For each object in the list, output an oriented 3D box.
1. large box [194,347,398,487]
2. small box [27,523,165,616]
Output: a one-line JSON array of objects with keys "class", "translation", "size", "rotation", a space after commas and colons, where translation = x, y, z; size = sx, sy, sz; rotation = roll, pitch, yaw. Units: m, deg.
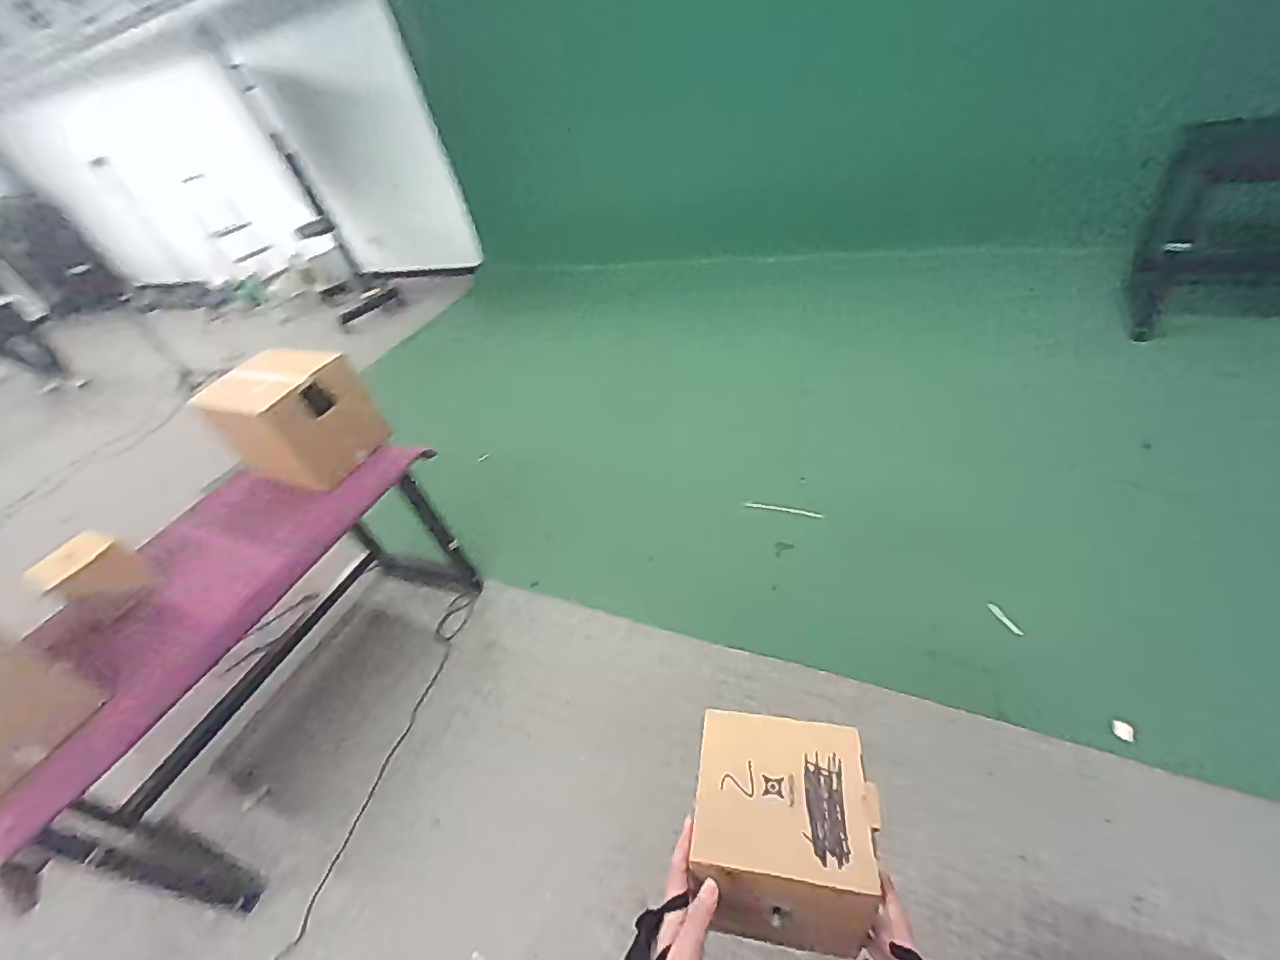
[{"class": "large box", "translation": [-1.086, -0.209, 1.740], "size": [0.408, 0.320, 0.320], "rotation": [10, 49, 26]}, {"class": "small box", "translation": [-1.456, 0.243, 1.457], "size": [0.179, 0.176, 0.168], "rotation": [10, 47, 26]}]
